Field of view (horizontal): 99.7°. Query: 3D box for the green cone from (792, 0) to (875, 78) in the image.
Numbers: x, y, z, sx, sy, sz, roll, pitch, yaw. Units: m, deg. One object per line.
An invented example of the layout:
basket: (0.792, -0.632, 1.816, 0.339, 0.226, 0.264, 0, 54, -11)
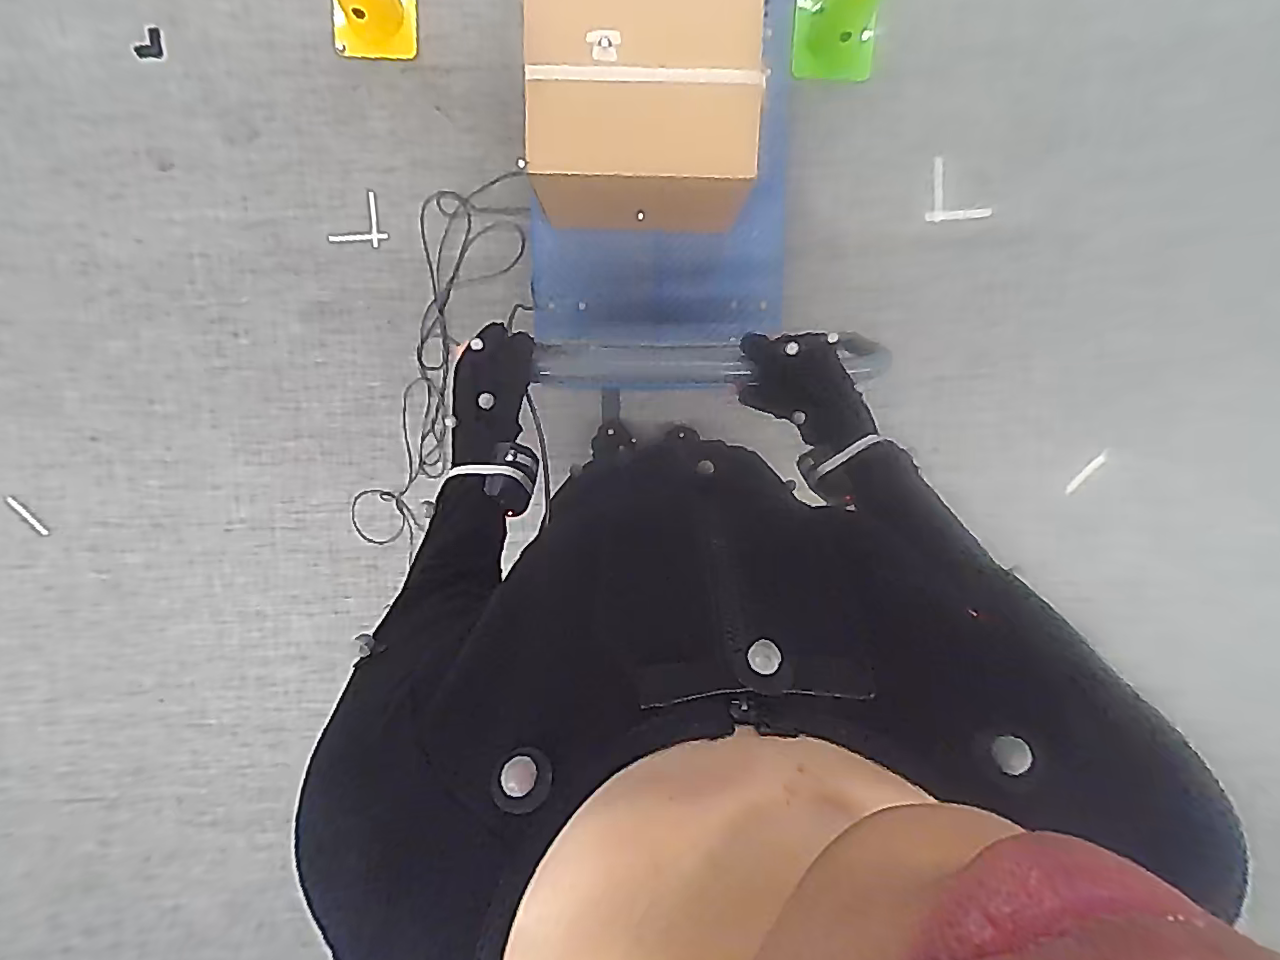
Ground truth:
green cone: (0.485, -1.091, 1.175, 0.202, 0.368, 0.200, 2, 97, -2)

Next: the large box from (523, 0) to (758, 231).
large box: (0.003, -0.700, 1.075, 0.408, 0.320, 0.320, 1, 97, 0)
